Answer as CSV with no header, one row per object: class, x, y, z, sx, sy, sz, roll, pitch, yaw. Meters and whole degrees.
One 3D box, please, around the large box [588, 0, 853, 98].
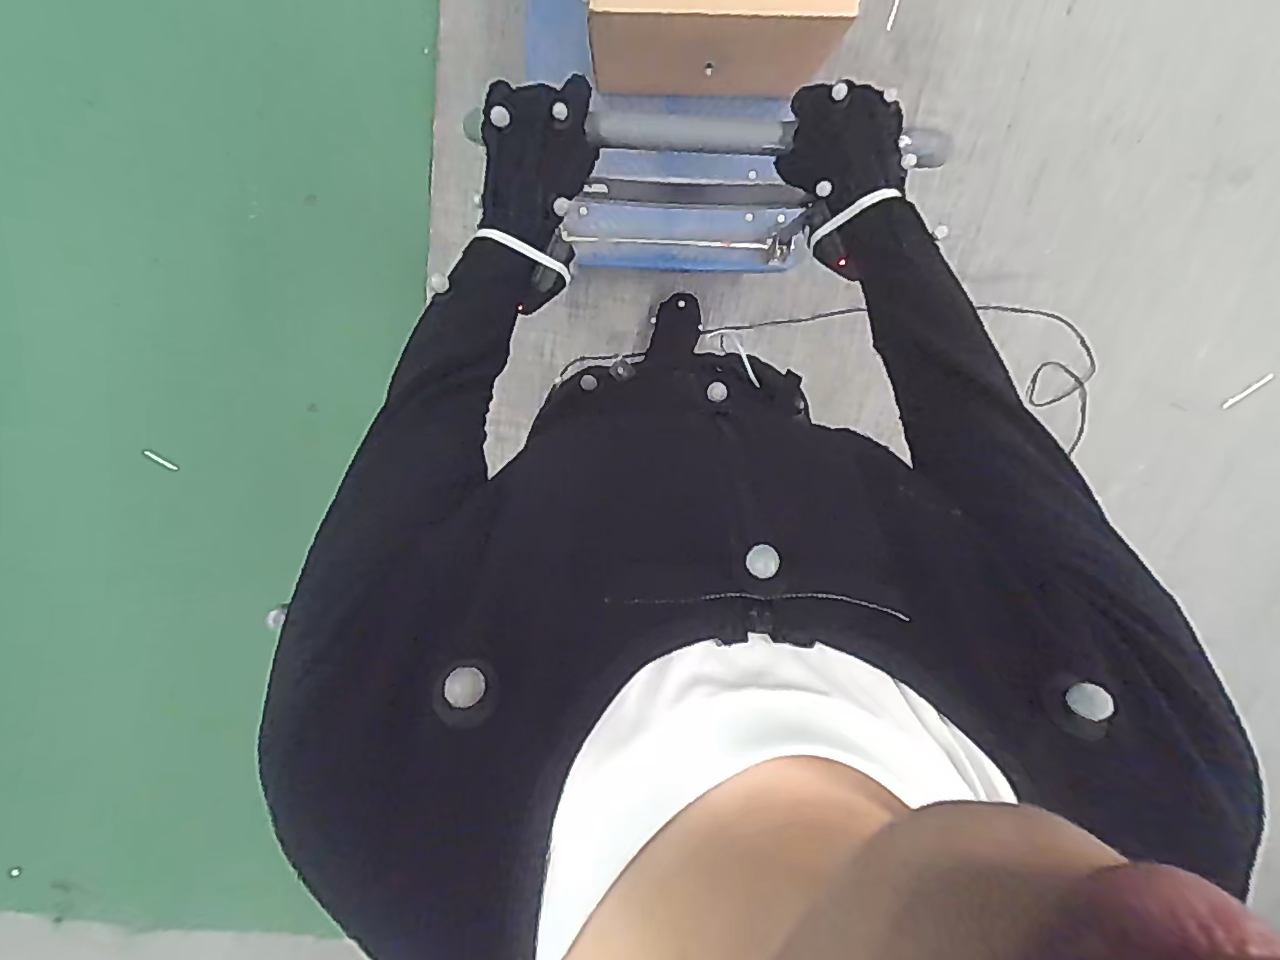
large box,0.123,-0.878,0.914,0.408,0.320,0.320,1,106,0
